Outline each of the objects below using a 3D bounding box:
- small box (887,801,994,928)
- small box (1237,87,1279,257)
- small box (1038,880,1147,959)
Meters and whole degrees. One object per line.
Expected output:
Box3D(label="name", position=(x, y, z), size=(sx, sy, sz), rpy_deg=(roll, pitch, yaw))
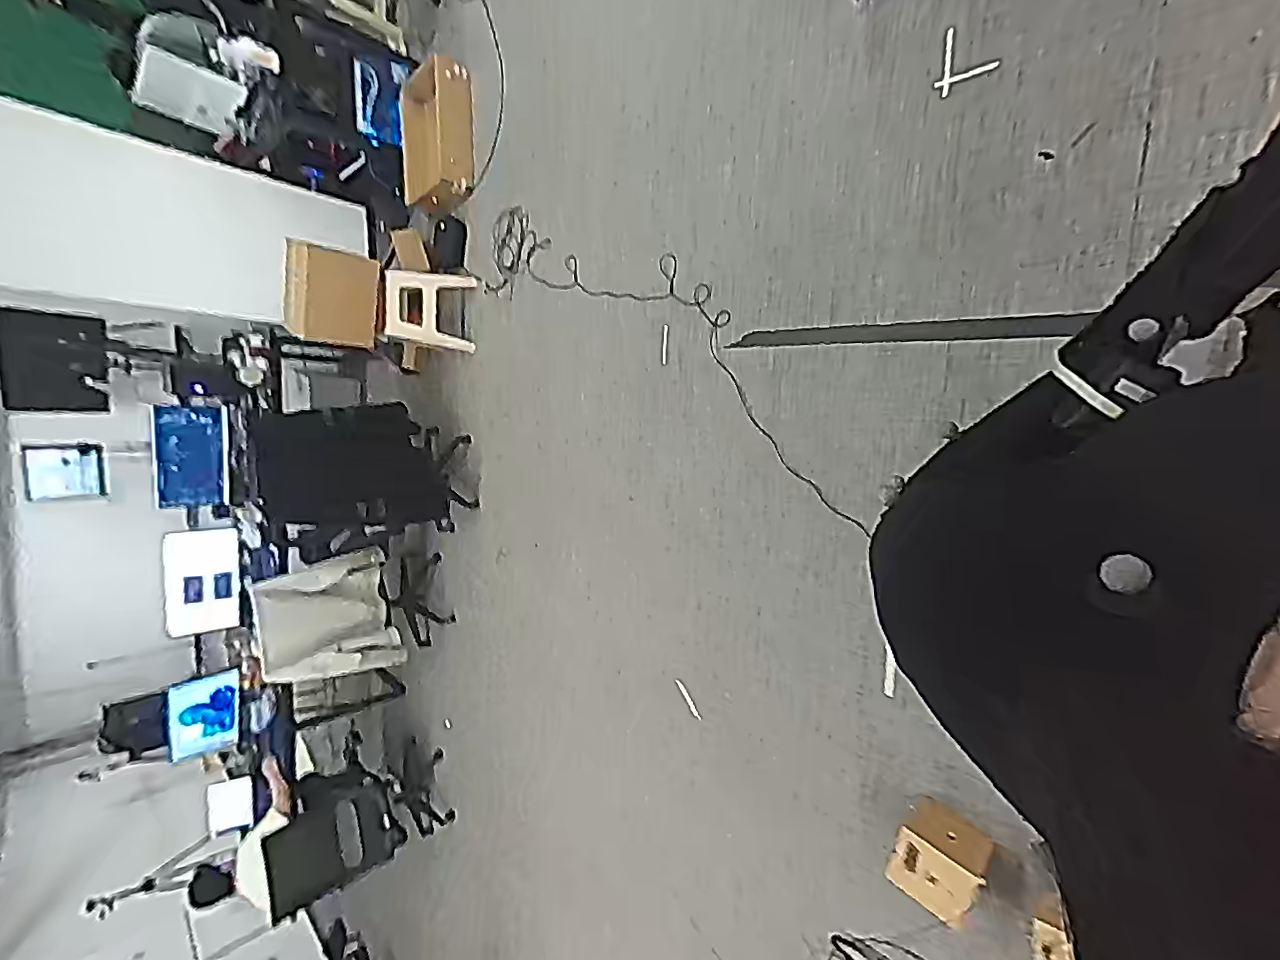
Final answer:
Box3D(label="small box", position=(0.764, 0.957, 1.372), size=(0.179, 0.176, 0.168), rpy_deg=(24, 110, 39))
Box3D(label="small box", position=(0.536, -0.254, 0.340), size=(0.168, 0.176, 0.179), rpy_deg=(17, 76, 31))
Box3D(label="small box", position=(0.980, 1.024, 1.171), size=(0.179, 0.176, 0.168), rpy_deg=(-1, 93, 43))
